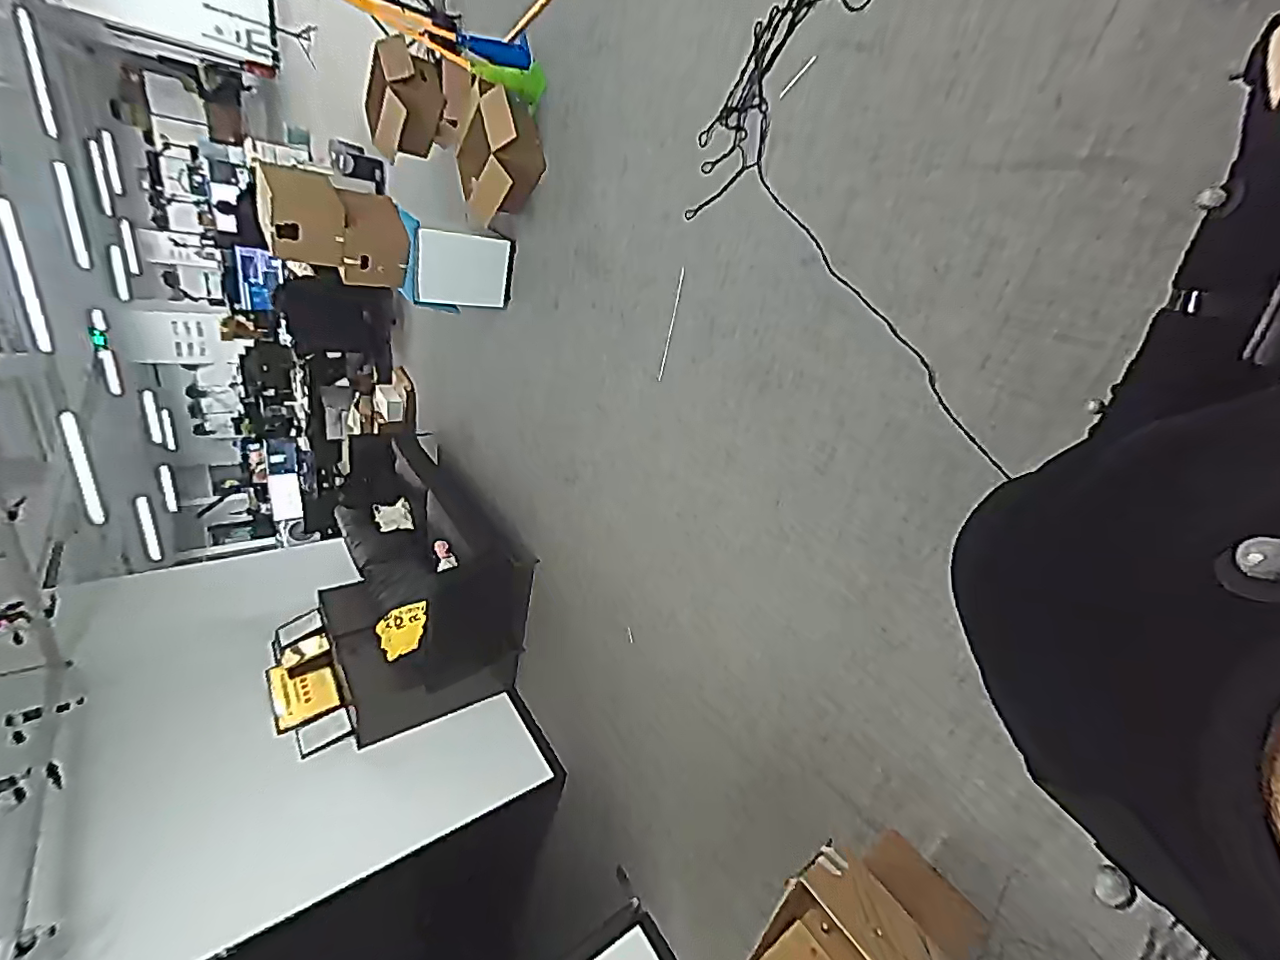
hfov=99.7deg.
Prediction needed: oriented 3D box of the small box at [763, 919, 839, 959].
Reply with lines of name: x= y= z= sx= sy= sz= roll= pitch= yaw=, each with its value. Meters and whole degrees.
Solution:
small box: x=0.375 y=1.184 z=1.256 sx=0.168 sy=0.176 sz=0.179 roll=36 pitch=124 yaw=43
